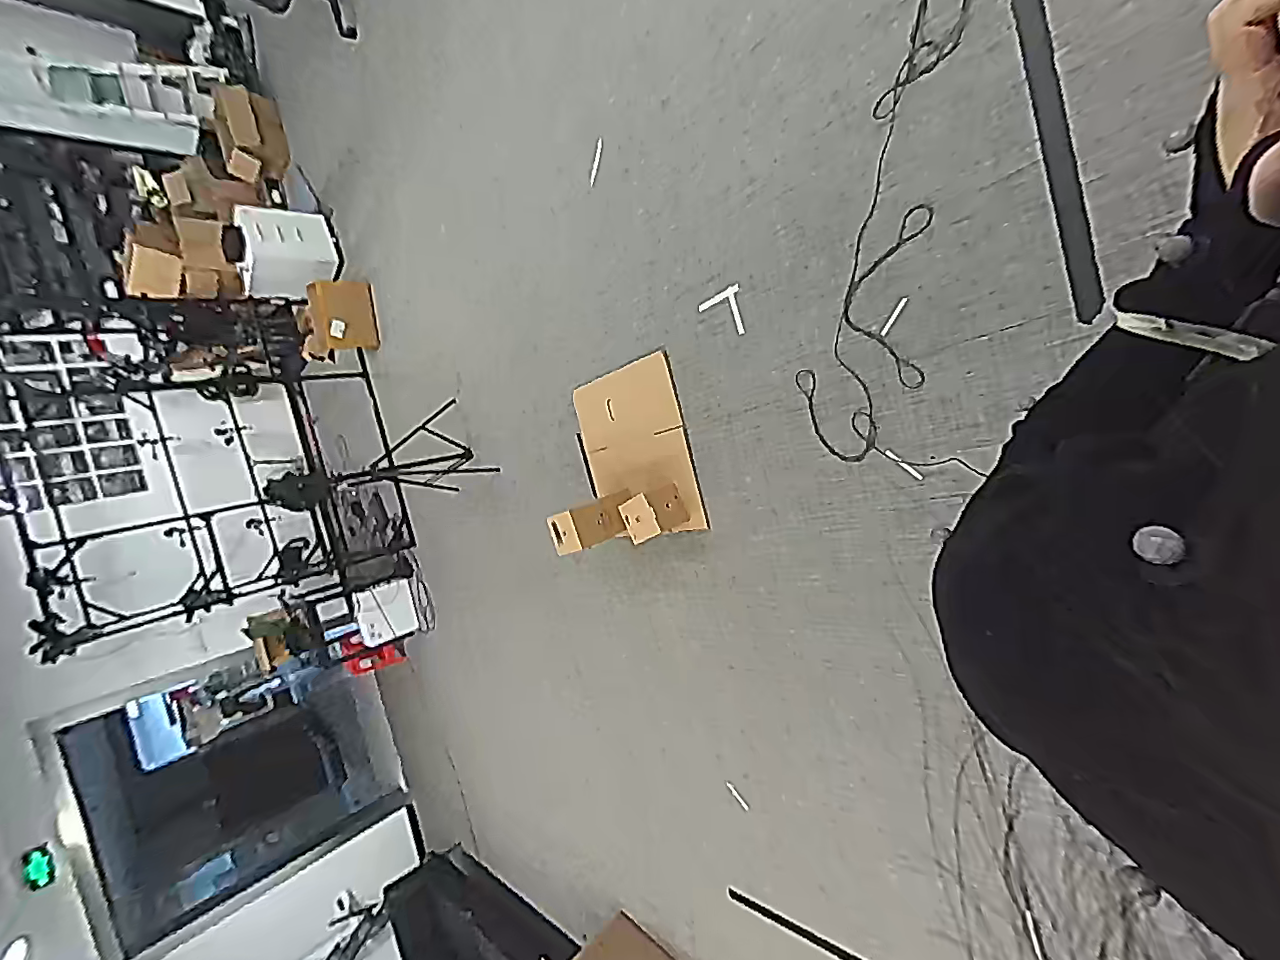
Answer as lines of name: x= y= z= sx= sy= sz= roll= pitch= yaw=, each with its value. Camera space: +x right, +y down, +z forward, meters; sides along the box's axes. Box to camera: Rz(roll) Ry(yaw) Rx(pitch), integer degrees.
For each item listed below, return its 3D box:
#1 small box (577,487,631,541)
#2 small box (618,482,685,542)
small box: x=-0.135 y=0.144 z=2.307 sx=0.179 sy=0.176 sz=0.168 roll=-26 pitch=84 yaw=47
small box: x=0.052 y=0.121 z=2.098 sx=0.179 sy=0.176 sz=0.168 roll=-31 pitch=80 yaw=46
